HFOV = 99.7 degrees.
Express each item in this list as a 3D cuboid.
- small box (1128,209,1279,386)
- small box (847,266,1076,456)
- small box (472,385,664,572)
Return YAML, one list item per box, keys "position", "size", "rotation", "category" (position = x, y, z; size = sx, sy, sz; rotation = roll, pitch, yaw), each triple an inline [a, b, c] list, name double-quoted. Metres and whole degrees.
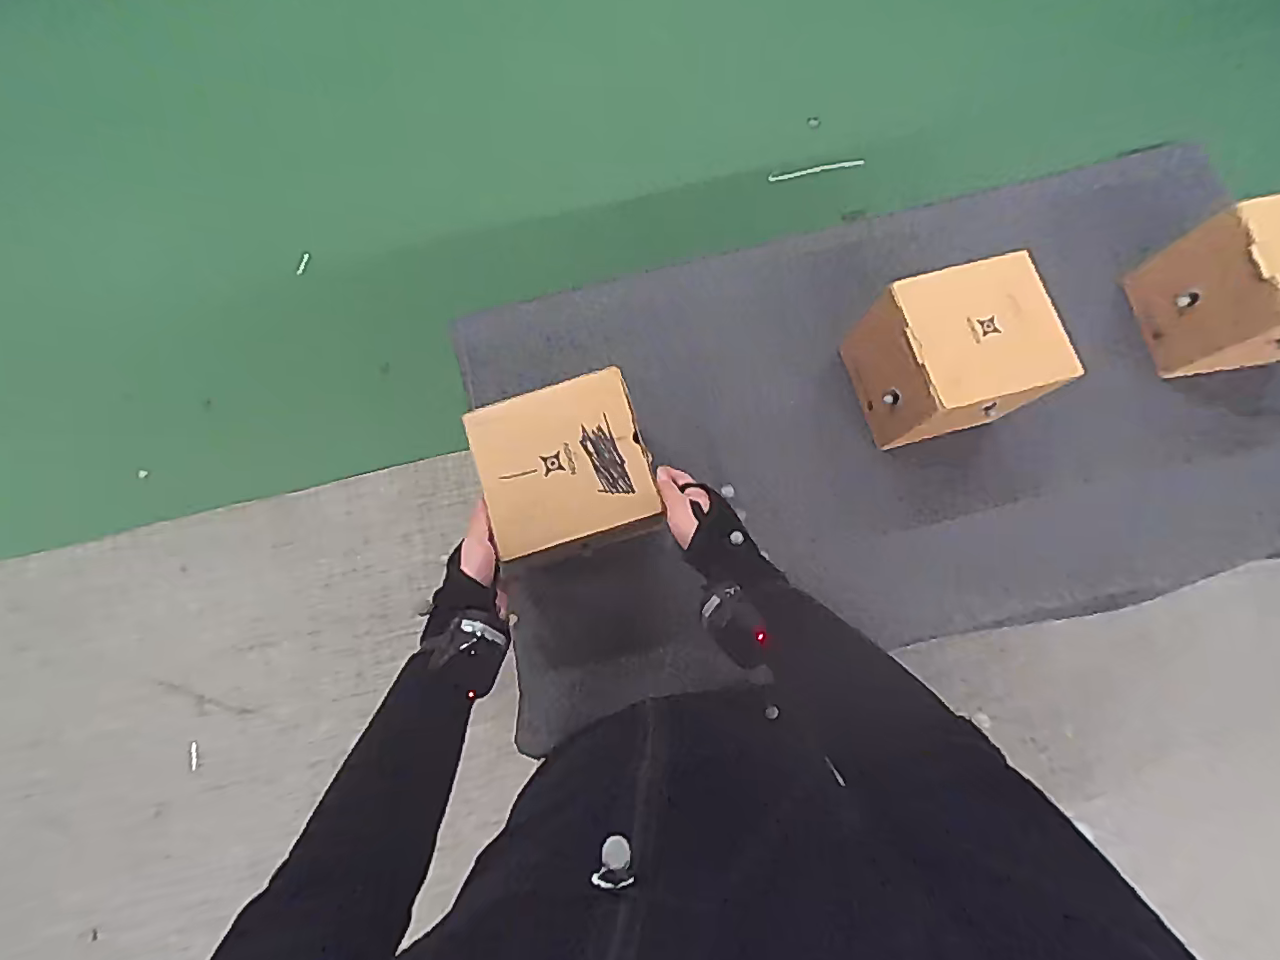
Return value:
- position: [0.817, -0.239, 0.727]
  size: [0.179, 0.176, 0.168]
  rotation: [-8, 77, -2]
  category: "small box"
- position: [0.392, -0.142, 0.704]
  size: [0.179, 0.176, 0.168]
  rotation: [-15, 78, -5]
  category: "small box"
- position: [-0.079, 0.009, 0.656]
  size: [0.179, 0.176, 0.168]
  rotation: [-17, 78, -2]
  category: "small box"
